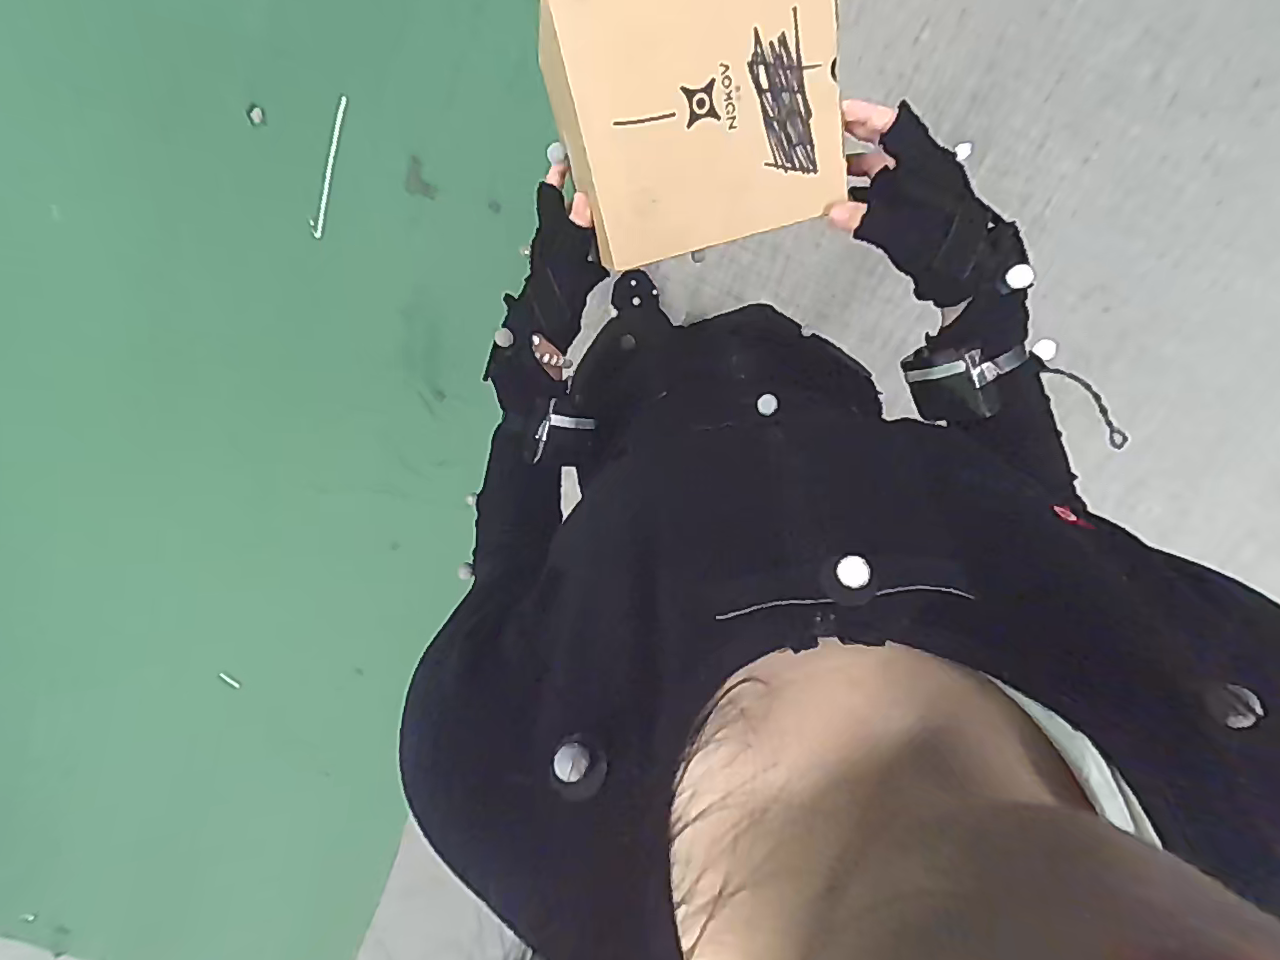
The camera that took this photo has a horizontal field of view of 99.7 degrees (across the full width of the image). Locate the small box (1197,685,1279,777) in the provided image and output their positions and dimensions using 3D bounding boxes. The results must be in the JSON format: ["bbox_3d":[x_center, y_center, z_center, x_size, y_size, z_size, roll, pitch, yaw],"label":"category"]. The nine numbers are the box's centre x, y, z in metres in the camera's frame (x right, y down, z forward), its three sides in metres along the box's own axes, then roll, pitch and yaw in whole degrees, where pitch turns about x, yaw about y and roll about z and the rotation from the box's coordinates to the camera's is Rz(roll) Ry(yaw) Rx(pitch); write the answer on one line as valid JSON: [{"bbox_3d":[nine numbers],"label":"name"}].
[{"bbox_3d":[1.947,0.791,1.713,0.168,0.176,0.179,19,109,-6],"label":"small box"}]

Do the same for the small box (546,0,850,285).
[{"bbox_3d":[0.034,-0.260,0.409,0.179,0.176,0.168,-16,117,-3],"label":"small box"}]
